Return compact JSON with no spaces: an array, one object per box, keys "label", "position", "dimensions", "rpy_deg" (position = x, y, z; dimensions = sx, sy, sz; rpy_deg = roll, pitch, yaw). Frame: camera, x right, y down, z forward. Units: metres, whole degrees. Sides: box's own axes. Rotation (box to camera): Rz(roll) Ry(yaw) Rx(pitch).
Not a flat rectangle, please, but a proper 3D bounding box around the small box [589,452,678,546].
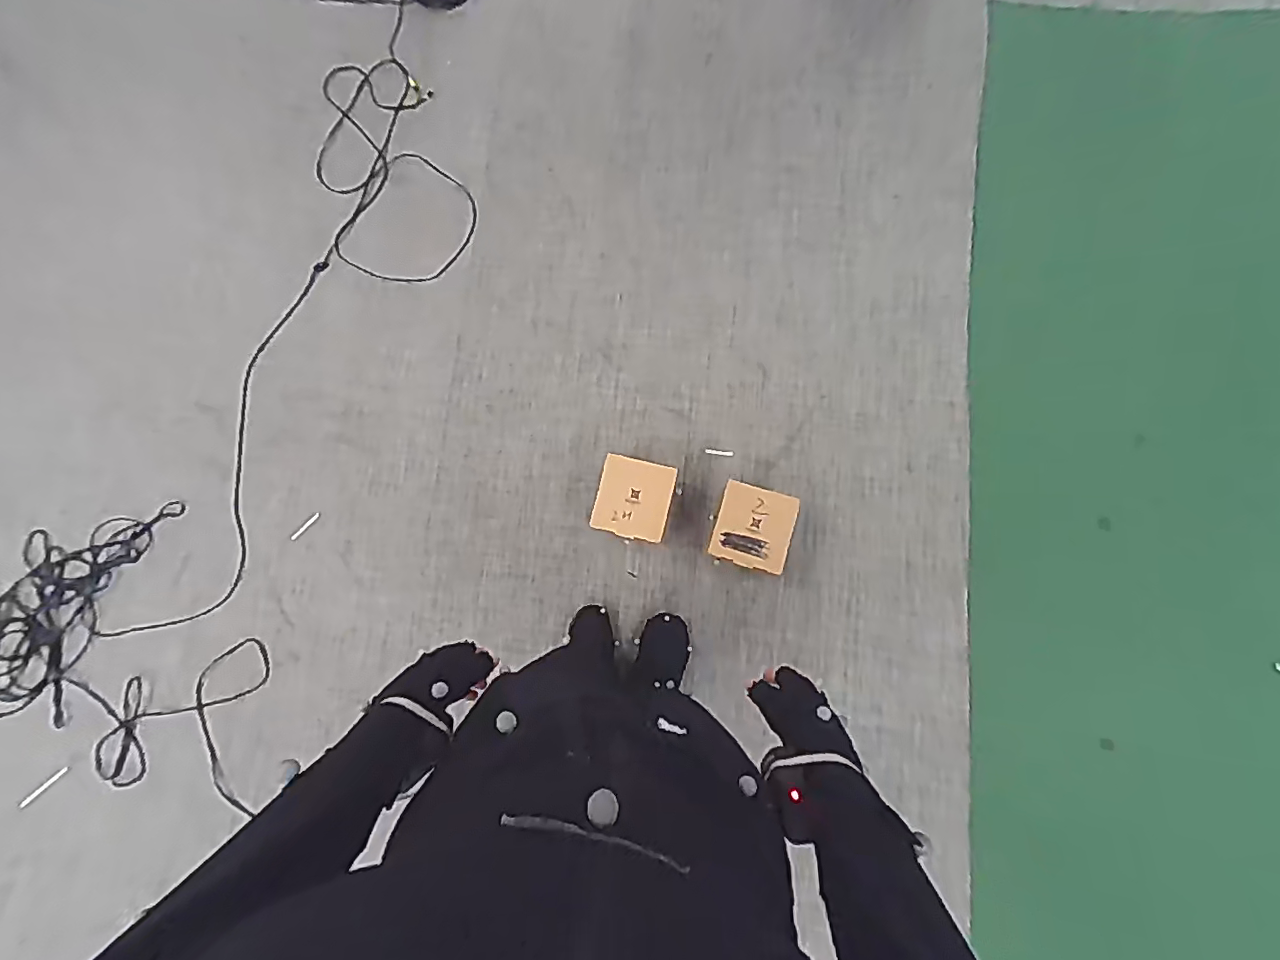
[{"label":"small box","position":[-0.011,0.051,1.284],"dimensions":[0.168,0.176,0.179],"rpy_deg":[14,82,7]}]
